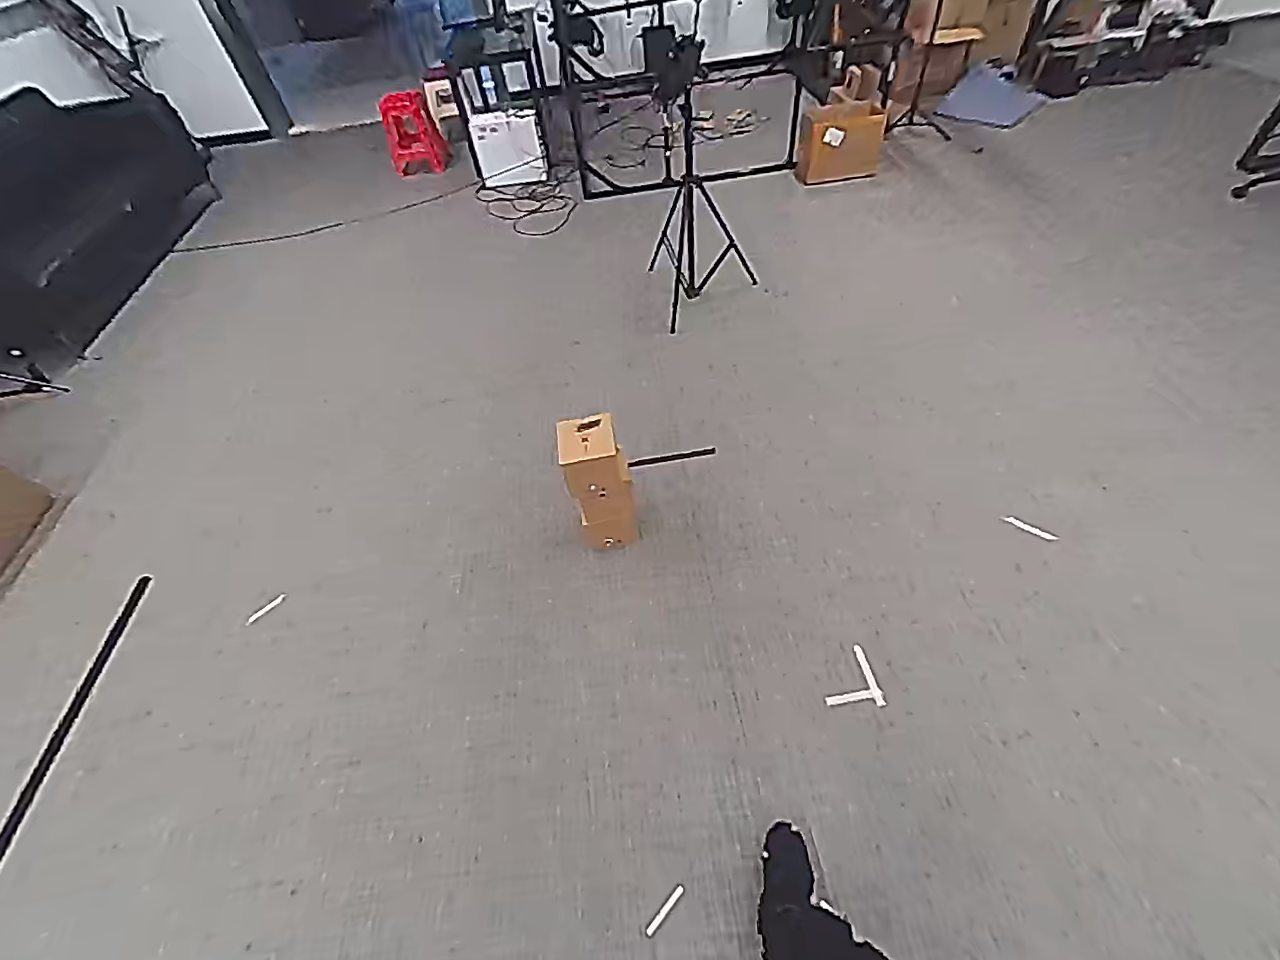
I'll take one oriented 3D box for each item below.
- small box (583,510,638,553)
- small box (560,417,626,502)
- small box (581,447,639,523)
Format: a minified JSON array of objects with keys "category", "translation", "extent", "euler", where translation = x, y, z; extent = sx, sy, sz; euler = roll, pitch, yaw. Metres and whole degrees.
[{"category":"small box","translation":[-0.106,0.130,1.891],"extent":[0.168,0.176,0.179],"euler":[-12,50,-2]},{"category":"small box","translation":[-0.142,-0.061,1.626],"extent":[0.168,0.176,0.179],"euler":[-11,51,1]},{"category":"small box","translation":[-0.111,0.021,1.768],"extent":[0.179,0.176,0.168],"euler":[-13,50,-2]}]
